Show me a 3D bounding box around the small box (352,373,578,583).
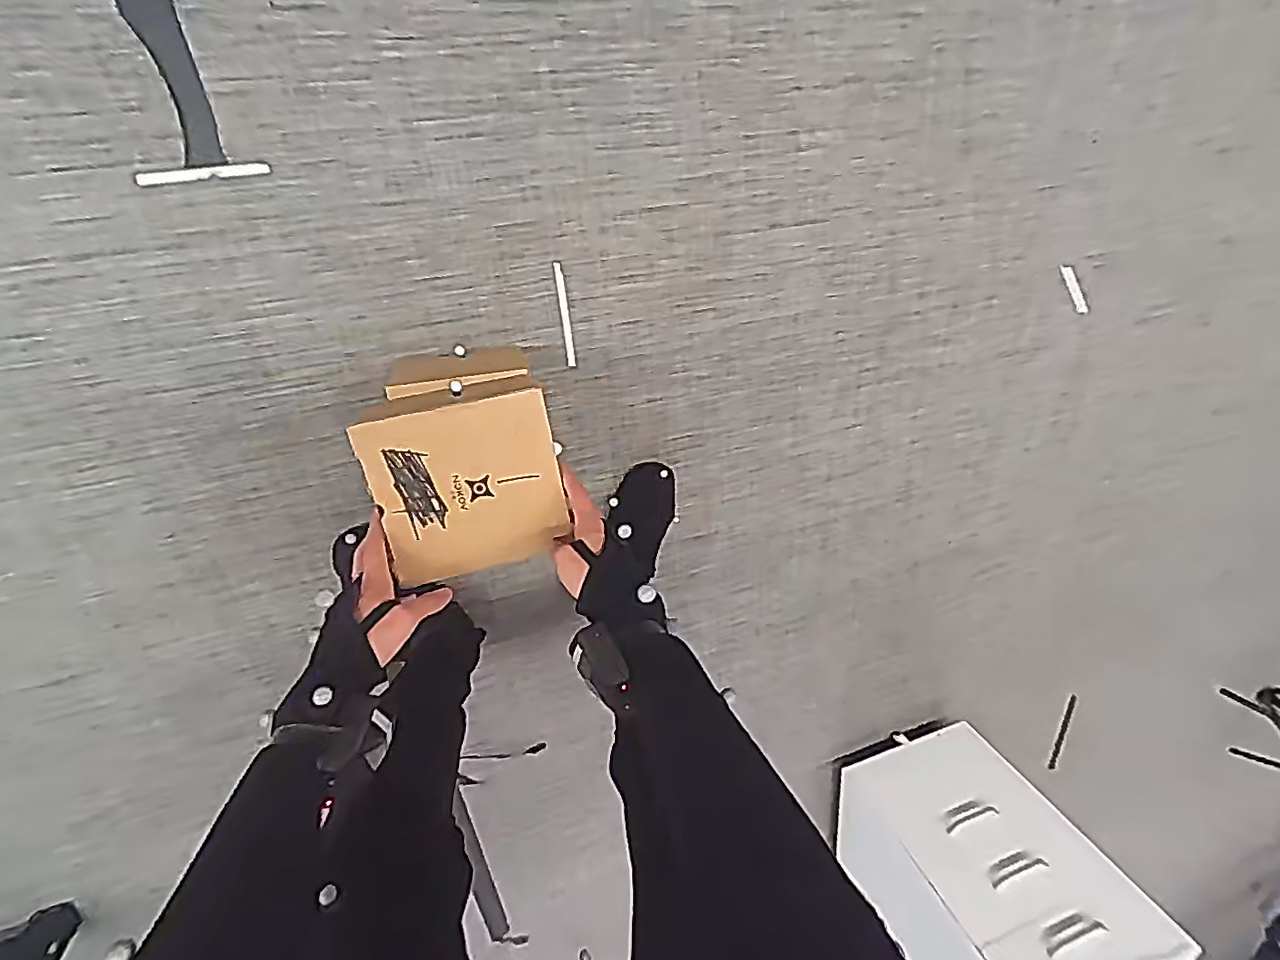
[{"bbox_3d":[-0.178,-0.015,0.583,0.179,0.176,0.168,-14,109,-13],"label":"small box"}]
